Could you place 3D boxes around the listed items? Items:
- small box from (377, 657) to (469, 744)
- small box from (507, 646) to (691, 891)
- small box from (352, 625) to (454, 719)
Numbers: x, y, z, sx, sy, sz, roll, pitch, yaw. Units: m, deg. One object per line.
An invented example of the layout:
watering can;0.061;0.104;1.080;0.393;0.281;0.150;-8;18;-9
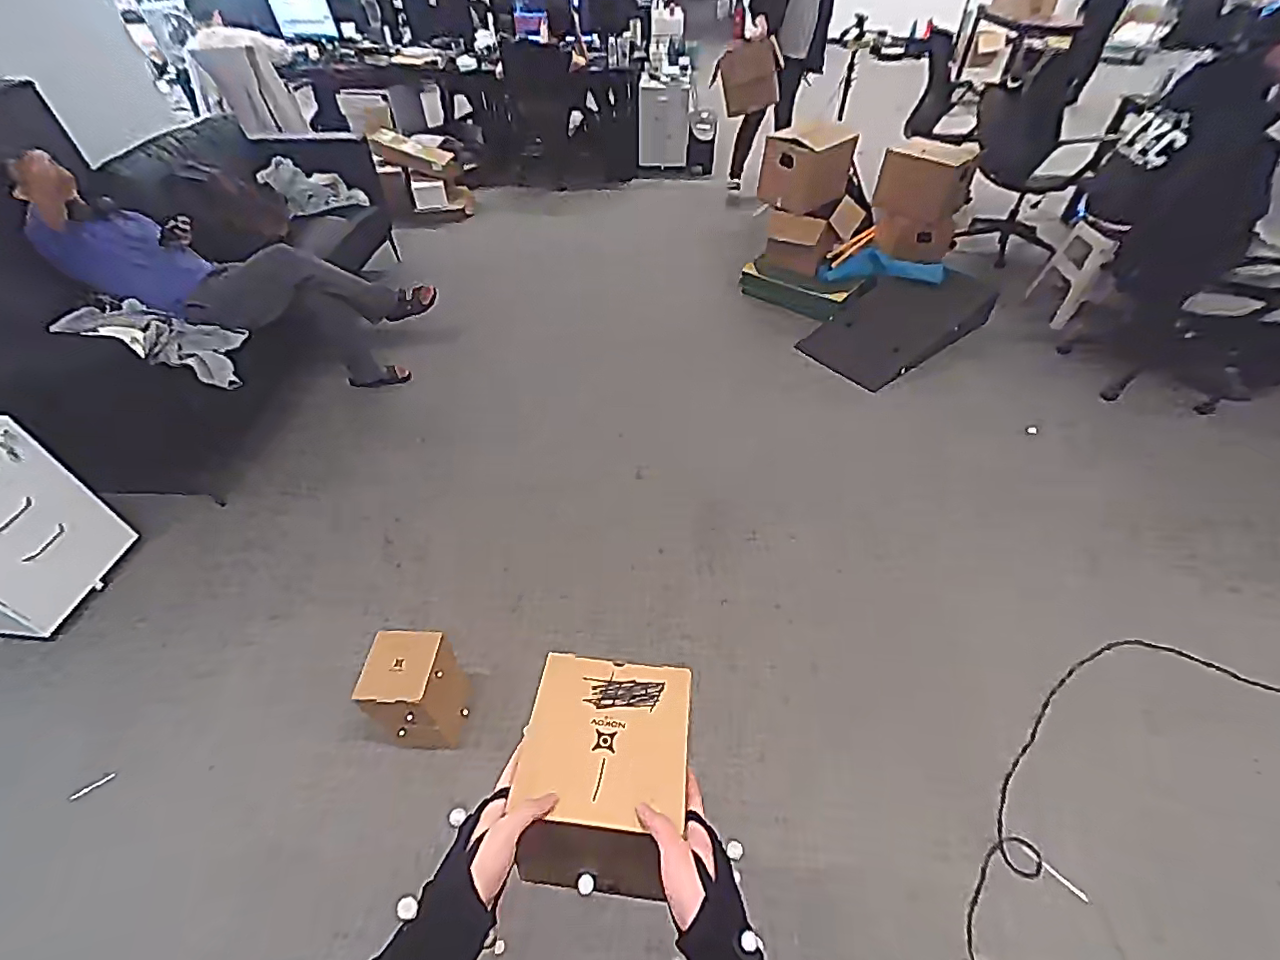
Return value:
small box;-0.583;0.598;1.481;0.168;0.176;0.179;2;47;3
small box;-0.038;0.317;0.603;0.168;0.176;0.179;6;37;4
small box;-0.585;0.486;1.363;0.168;0.176;0.179;2;46;1
